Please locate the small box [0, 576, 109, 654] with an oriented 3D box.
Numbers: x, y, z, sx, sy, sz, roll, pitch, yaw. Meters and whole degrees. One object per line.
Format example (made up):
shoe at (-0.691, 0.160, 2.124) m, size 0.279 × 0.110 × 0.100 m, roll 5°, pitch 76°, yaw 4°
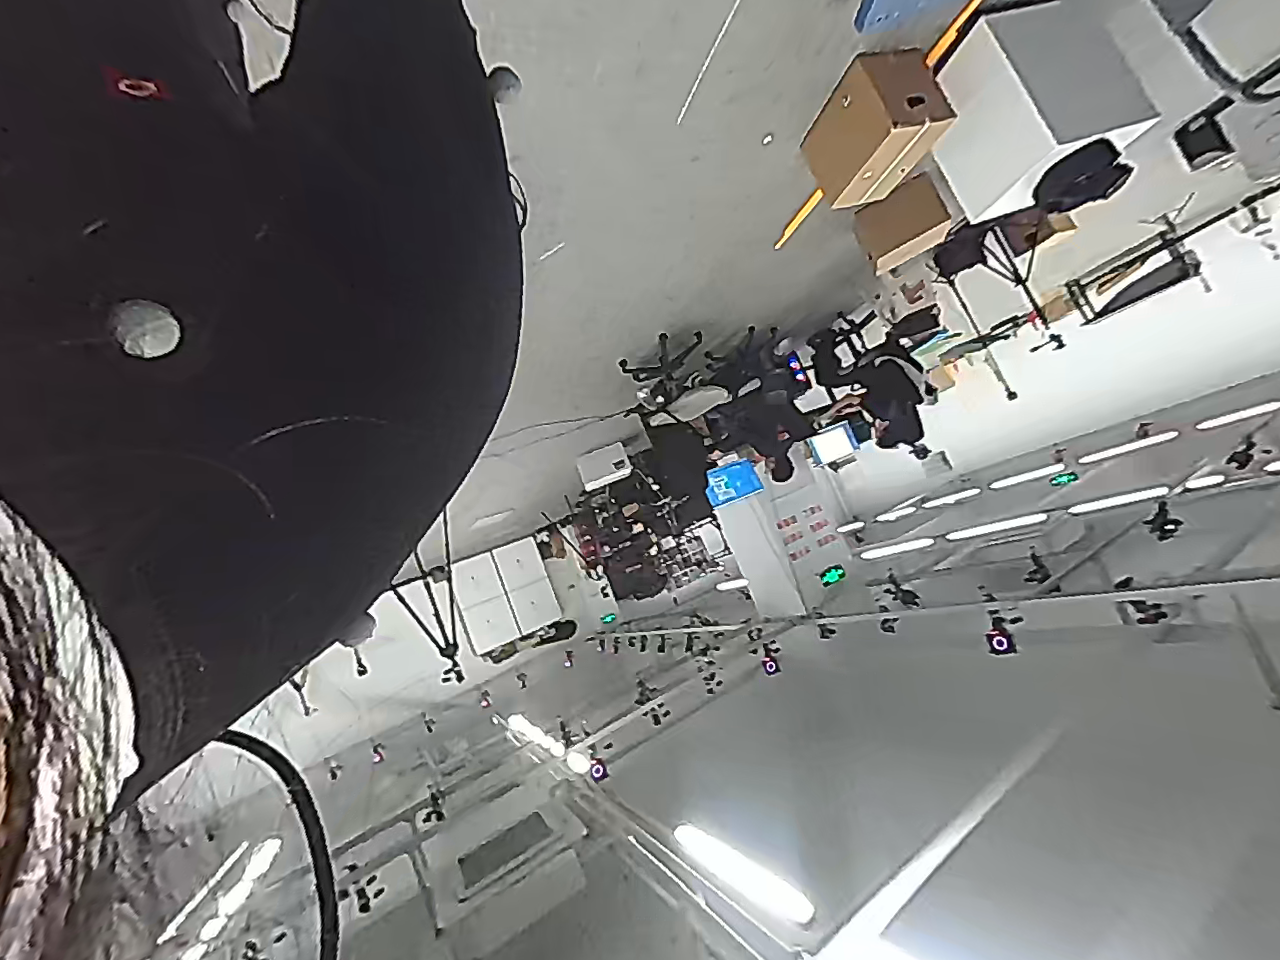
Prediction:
small box at (-1.701, 0.390, 1.569) m, size 0.168 × 0.176 × 0.179 m, roll -19°, pitch 171°, yaw -30°
